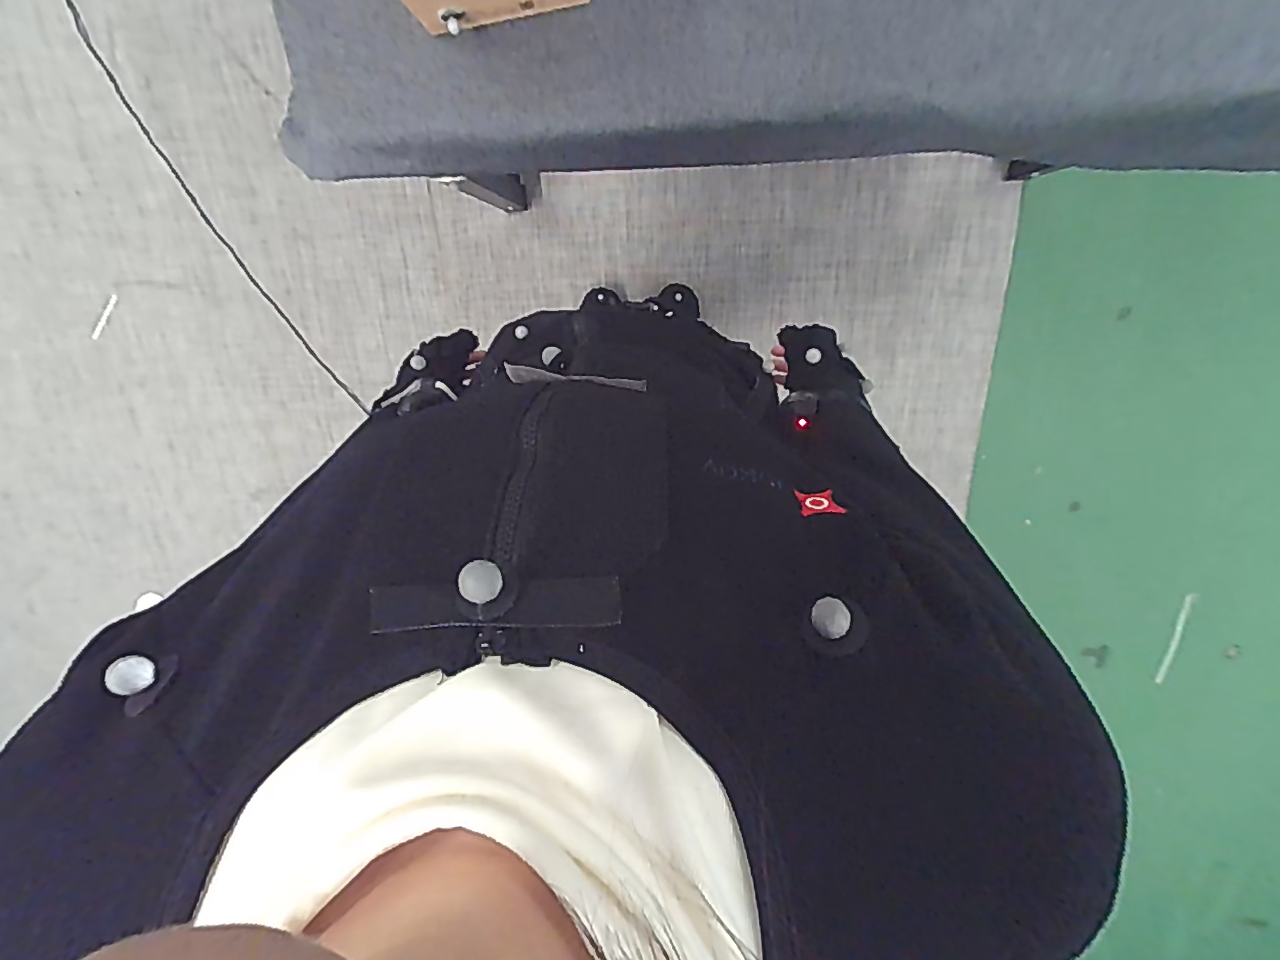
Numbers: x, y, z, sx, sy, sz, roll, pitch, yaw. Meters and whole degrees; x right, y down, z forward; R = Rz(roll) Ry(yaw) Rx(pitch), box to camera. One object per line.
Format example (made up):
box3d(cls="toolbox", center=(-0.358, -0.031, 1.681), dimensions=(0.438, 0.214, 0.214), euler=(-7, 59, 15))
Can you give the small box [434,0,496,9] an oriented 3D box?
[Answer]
box3d(cls="small box", center=(-0.138, -0.519, 0.428), dimensions=(0.168, 0.176, 0.179), euler=(-8, 108, 5))
